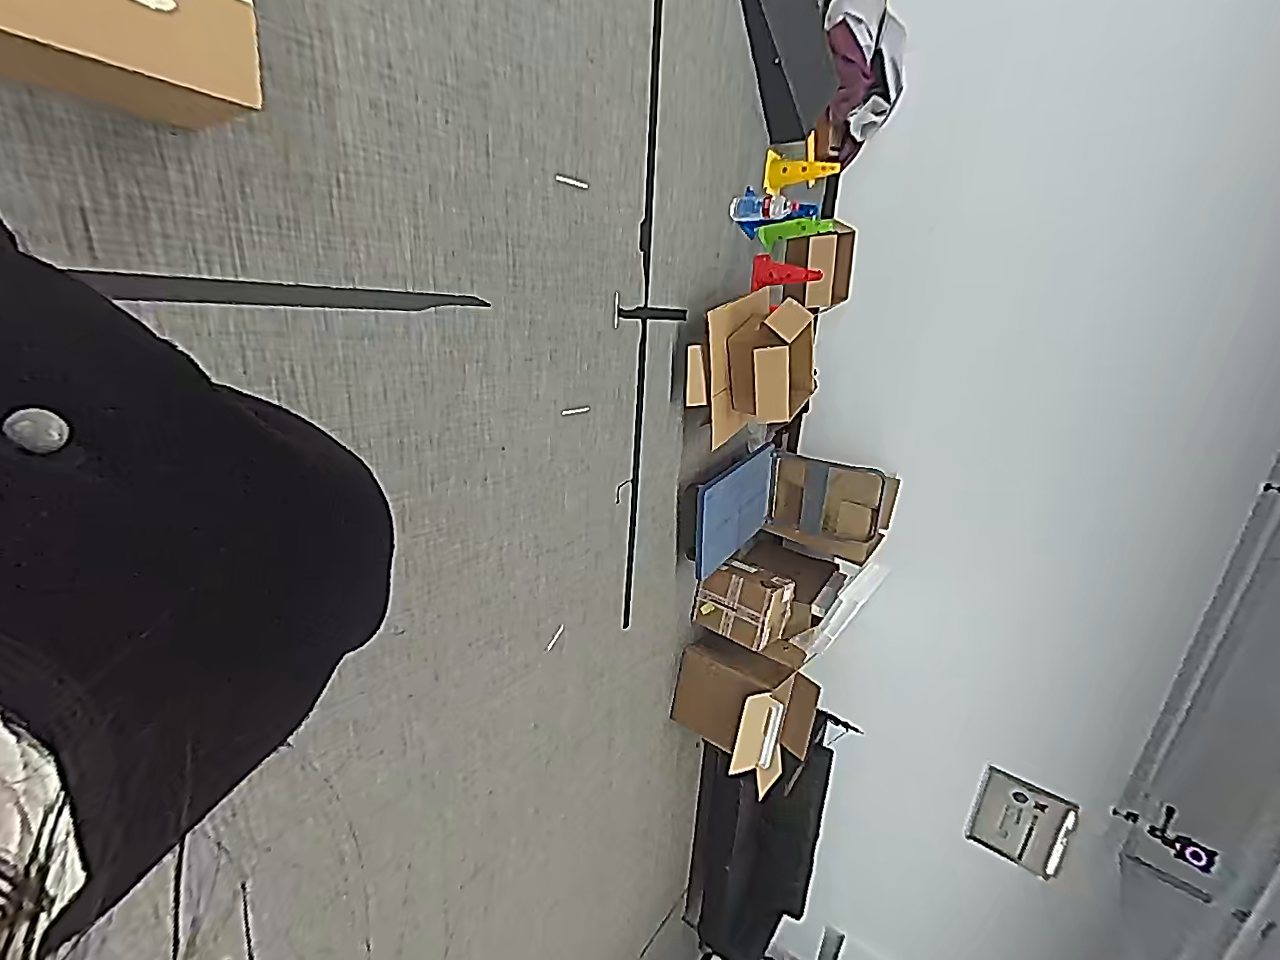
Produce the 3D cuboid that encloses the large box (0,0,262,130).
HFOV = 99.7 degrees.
[{"bbox_3d":[-0.867,-0.769,0.799,0.408,0.320,0.320,-17,118,-52],"label":"large box"}]
